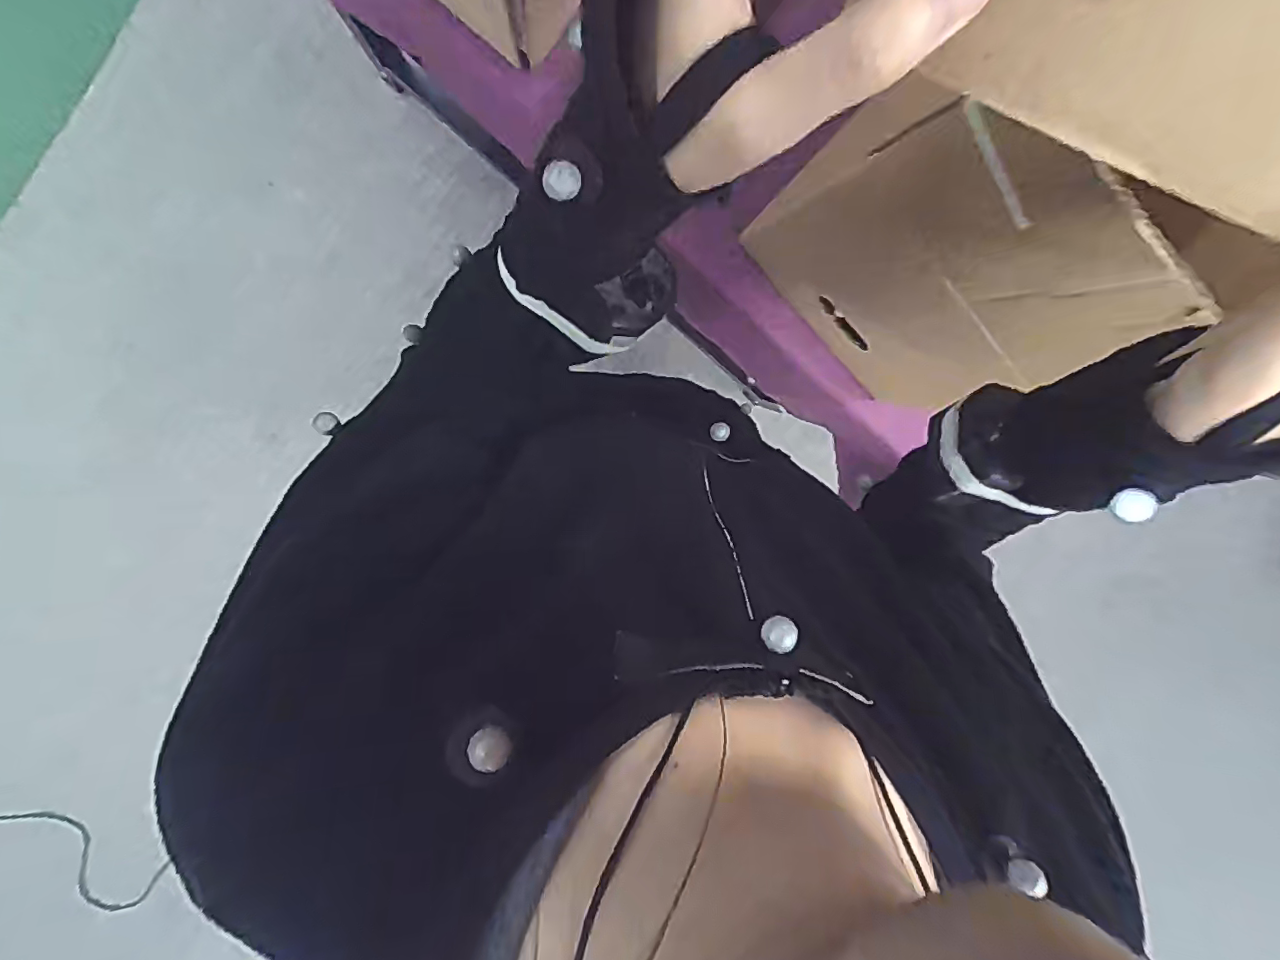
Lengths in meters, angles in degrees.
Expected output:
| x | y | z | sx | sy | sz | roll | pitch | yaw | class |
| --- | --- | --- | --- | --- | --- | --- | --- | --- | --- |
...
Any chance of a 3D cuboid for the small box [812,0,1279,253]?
| x | y | z | sx | sy | sz | roll | pitch | yaw | class |
| --- | --- | --- | --- | --- | --- | --- | --- | --- | --- |
| 0.159 | -0.180 | 0.089 | 0.179 | 0.168 | 0.176 | 16 | 79 | -10 | small box |
